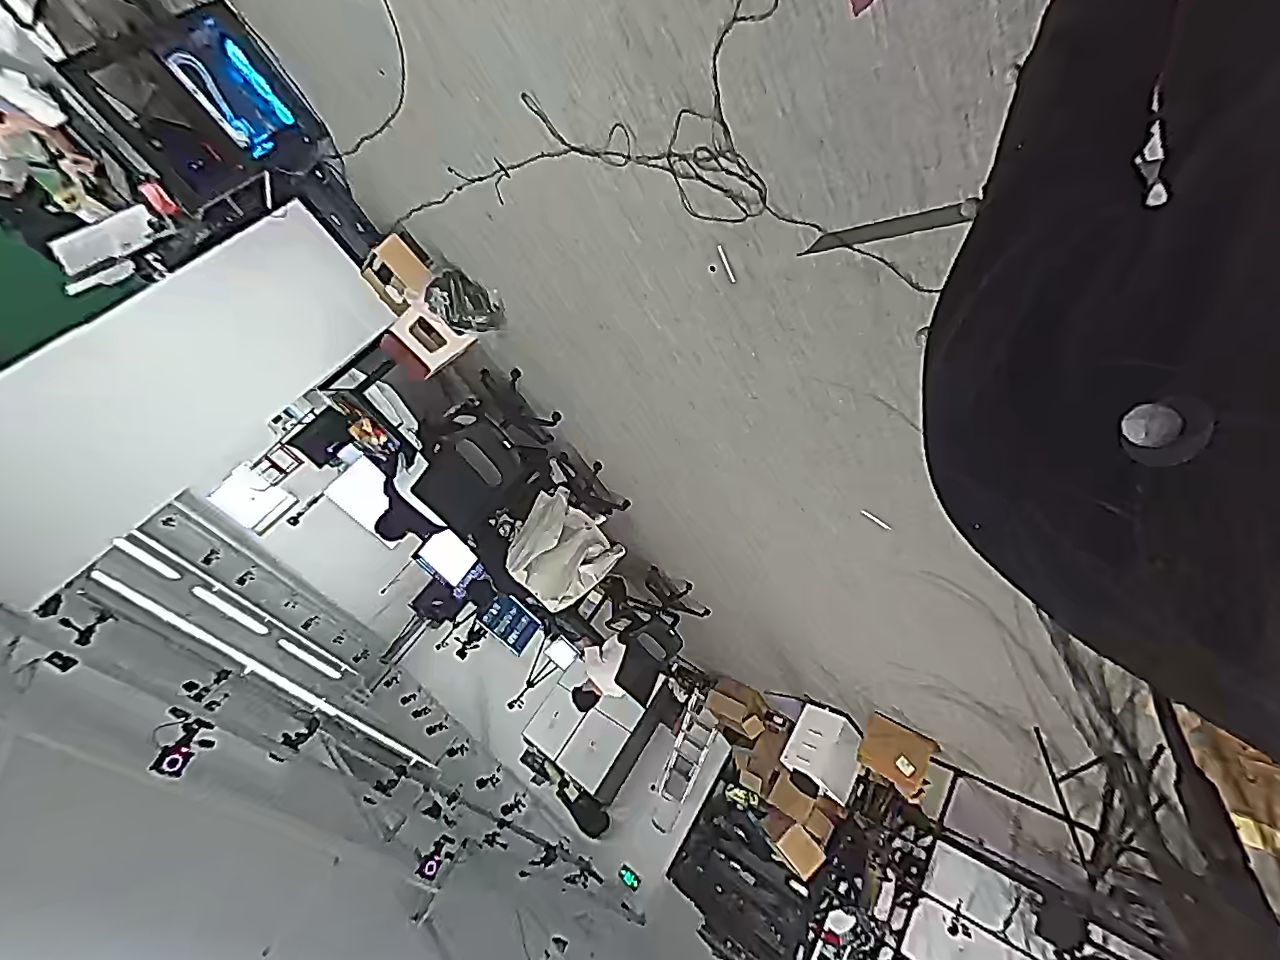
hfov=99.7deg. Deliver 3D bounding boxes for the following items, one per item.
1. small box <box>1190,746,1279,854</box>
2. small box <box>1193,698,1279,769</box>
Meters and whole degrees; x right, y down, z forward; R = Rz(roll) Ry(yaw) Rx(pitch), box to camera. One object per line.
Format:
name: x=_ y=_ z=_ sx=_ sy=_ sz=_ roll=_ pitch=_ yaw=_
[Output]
small box: x=1.658 y=0.879 z=1.497 sx=0.168 sy=0.176 sz=0.179 roll=9 pitch=141 yaw=46
small box: x=1.750 y=0.769 z=1.572 sx=0.179 sy=0.176 sz=0.168 roll=9 pitch=142 yaw=48
